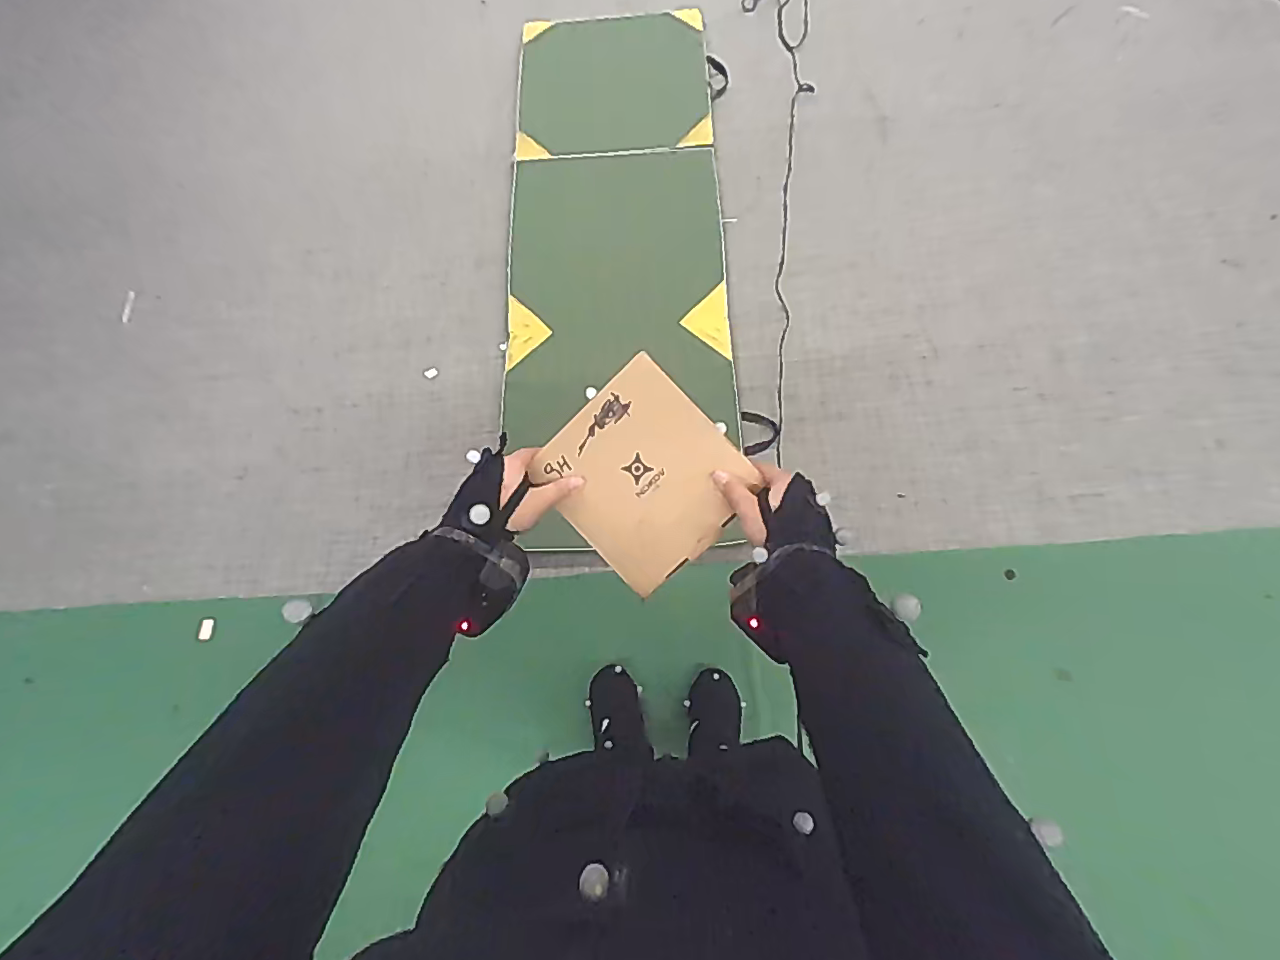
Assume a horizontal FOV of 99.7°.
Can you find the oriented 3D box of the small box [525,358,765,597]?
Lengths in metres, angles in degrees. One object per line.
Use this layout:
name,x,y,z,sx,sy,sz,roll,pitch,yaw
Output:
small box,0.011,-0.006,0.595,0.168,0.176,0.179,-43,88,4
